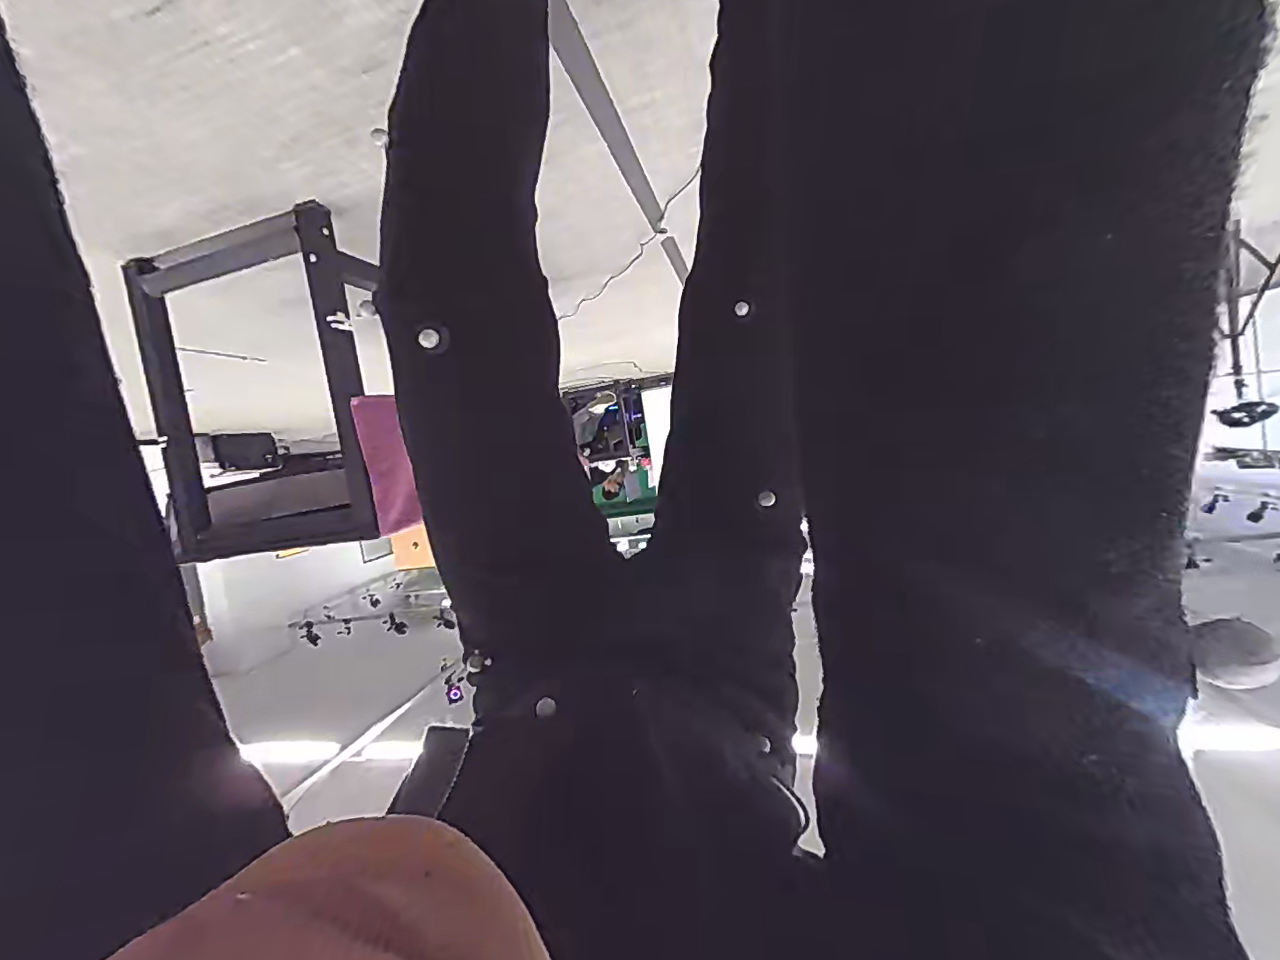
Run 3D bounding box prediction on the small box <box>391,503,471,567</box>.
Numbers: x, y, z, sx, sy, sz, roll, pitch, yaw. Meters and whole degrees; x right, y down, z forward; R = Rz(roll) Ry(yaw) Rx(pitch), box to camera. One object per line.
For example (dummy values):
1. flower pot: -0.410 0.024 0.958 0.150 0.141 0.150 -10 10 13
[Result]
1. small box: -0.675 0.172 1.741 0.179 0.176 0.168 -9 -176 19
